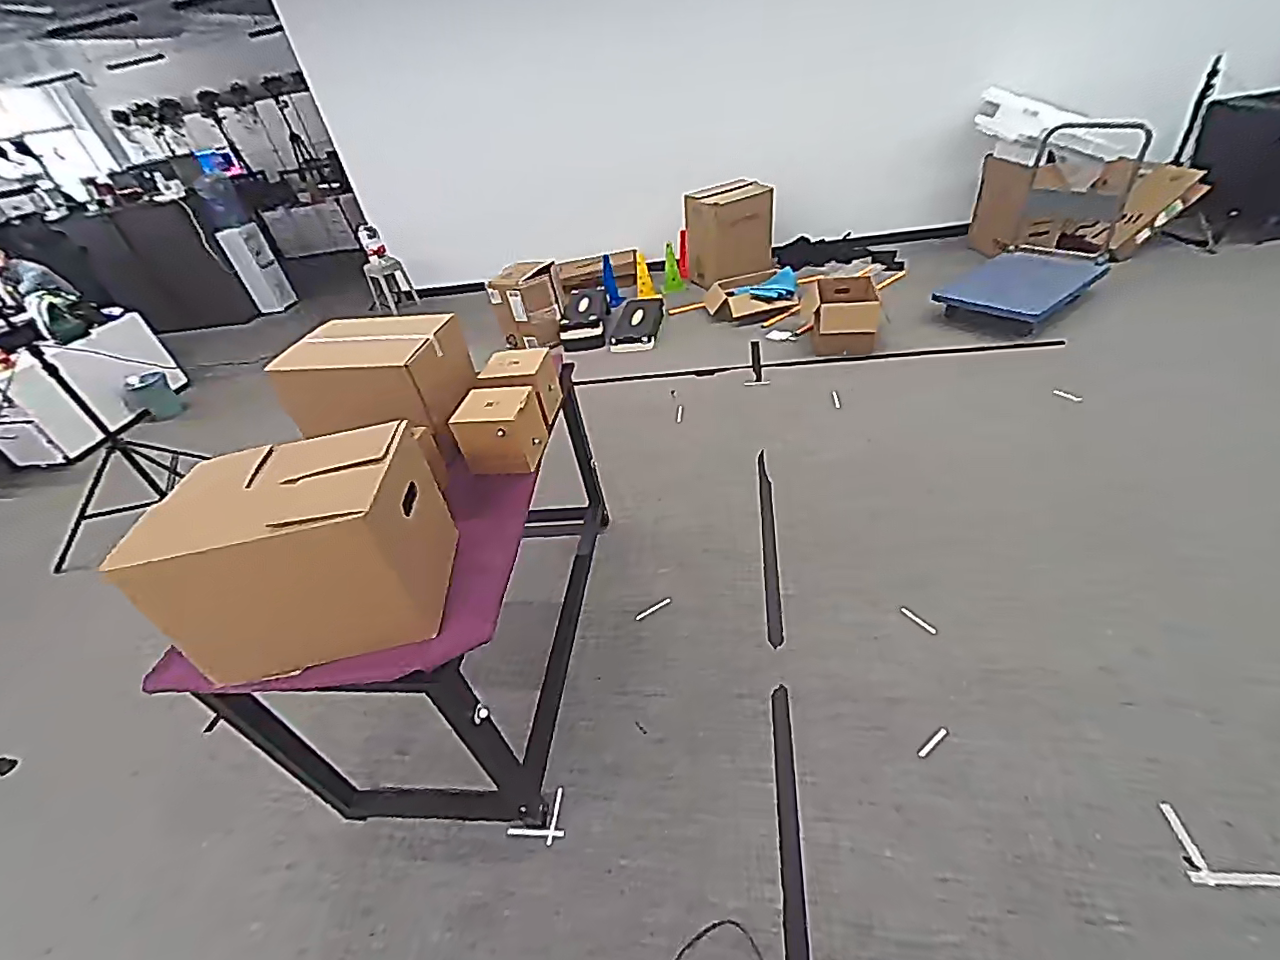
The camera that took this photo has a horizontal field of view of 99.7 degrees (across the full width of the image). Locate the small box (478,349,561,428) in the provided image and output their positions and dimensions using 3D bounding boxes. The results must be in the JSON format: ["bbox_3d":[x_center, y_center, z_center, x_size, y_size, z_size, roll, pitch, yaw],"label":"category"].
[{"bbox_3d":[-0.344,-0.266,1.590,0.179,0.176,0.168,-3,38,11],"label":"small box"}]
